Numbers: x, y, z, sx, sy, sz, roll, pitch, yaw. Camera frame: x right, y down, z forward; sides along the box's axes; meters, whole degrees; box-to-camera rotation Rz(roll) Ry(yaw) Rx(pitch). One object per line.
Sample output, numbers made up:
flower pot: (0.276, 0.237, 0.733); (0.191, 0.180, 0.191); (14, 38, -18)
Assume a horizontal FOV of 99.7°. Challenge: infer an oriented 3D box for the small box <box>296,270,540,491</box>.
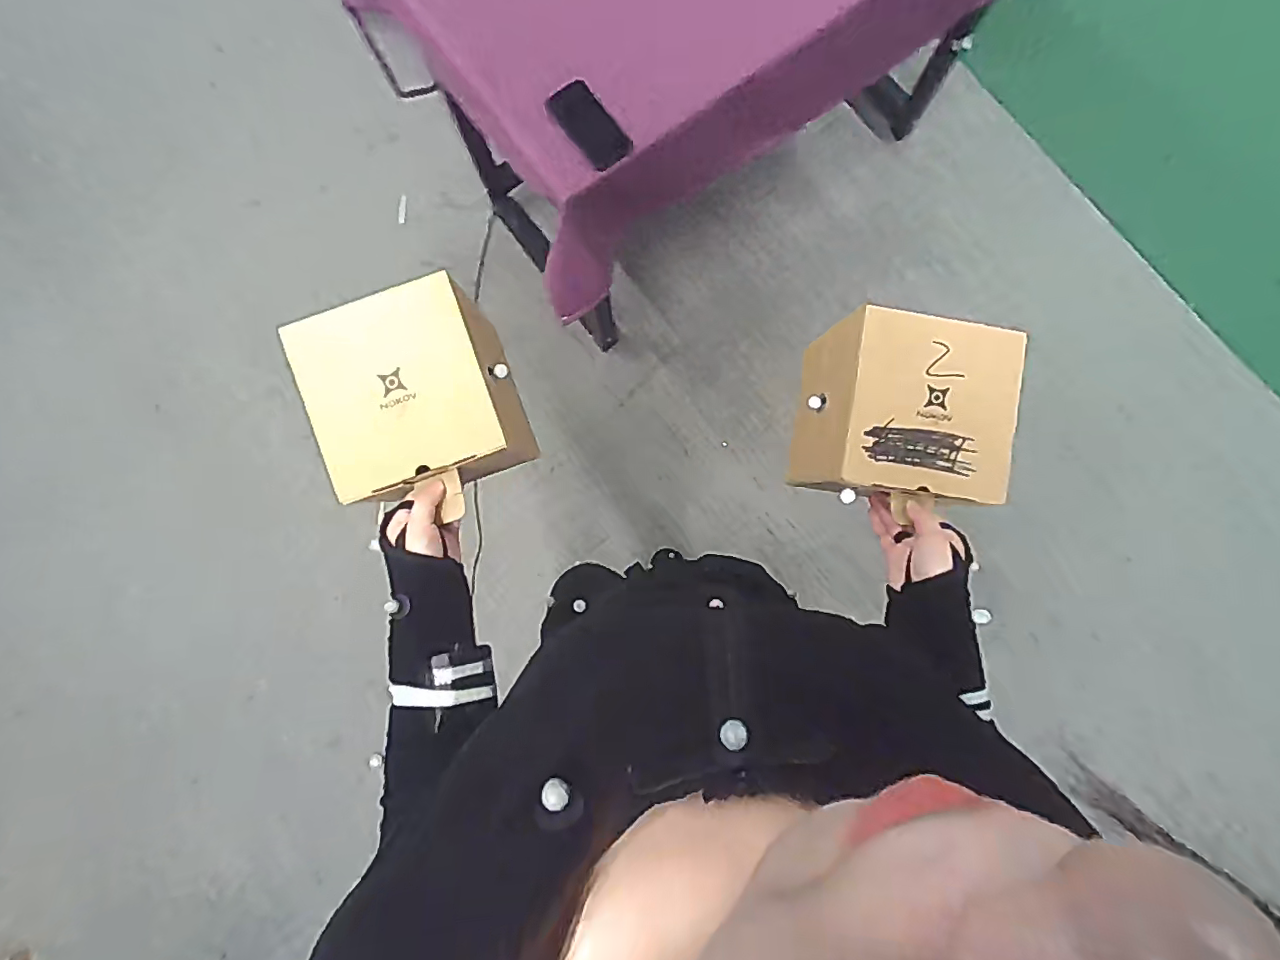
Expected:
small box: (-0.223, -0.092, 0.588); (0.168, 0.176, 0.179); (-19, 90, 0)
